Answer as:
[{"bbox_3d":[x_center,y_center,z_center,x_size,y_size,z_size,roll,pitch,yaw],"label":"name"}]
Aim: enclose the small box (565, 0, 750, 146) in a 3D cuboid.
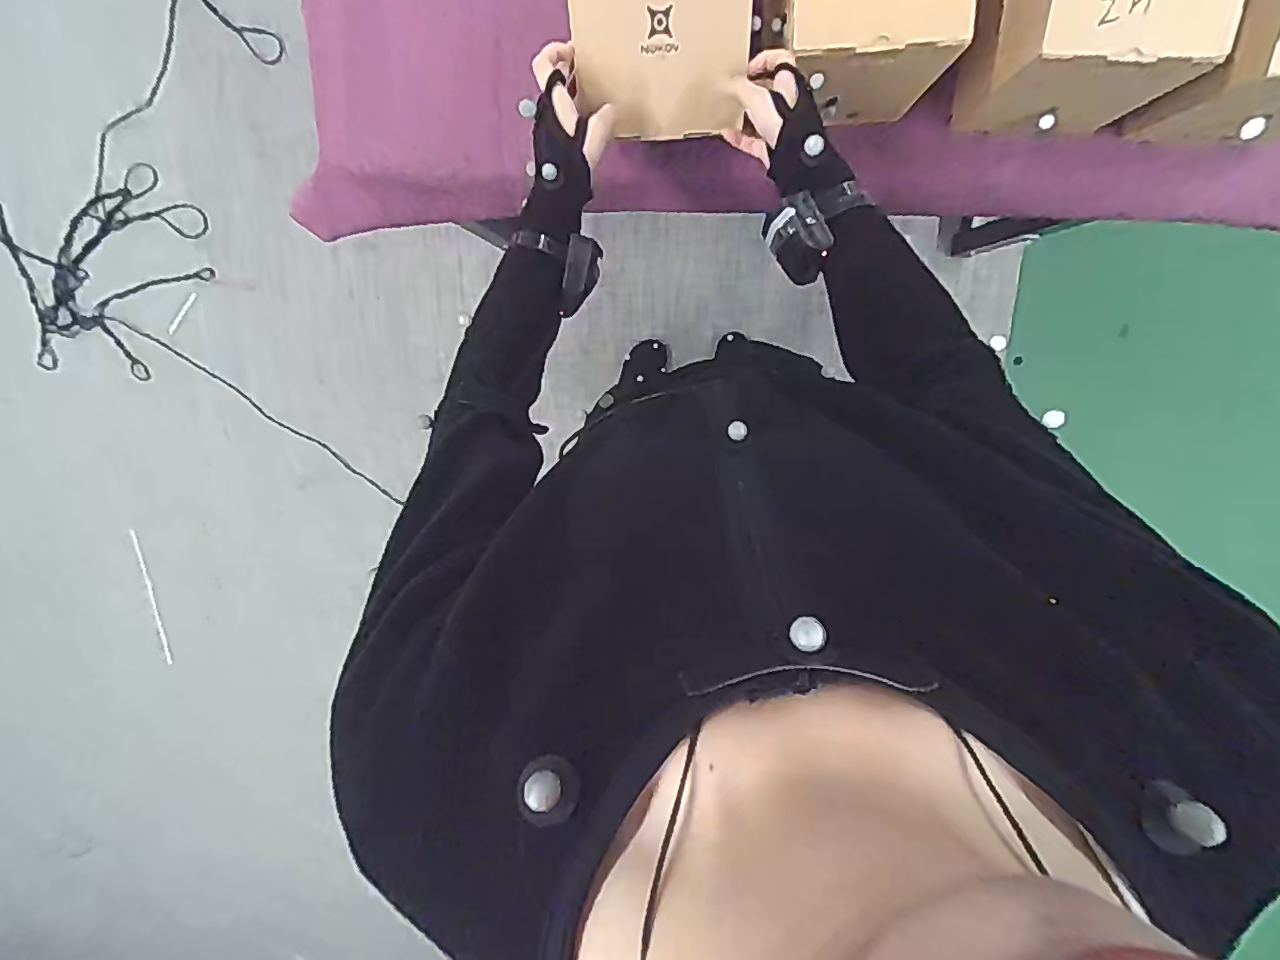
[{"bbox_3d":[0.020,-0.460,0.546,0.168,0.176,0.179,0,134,4],"label":"small box"}]
